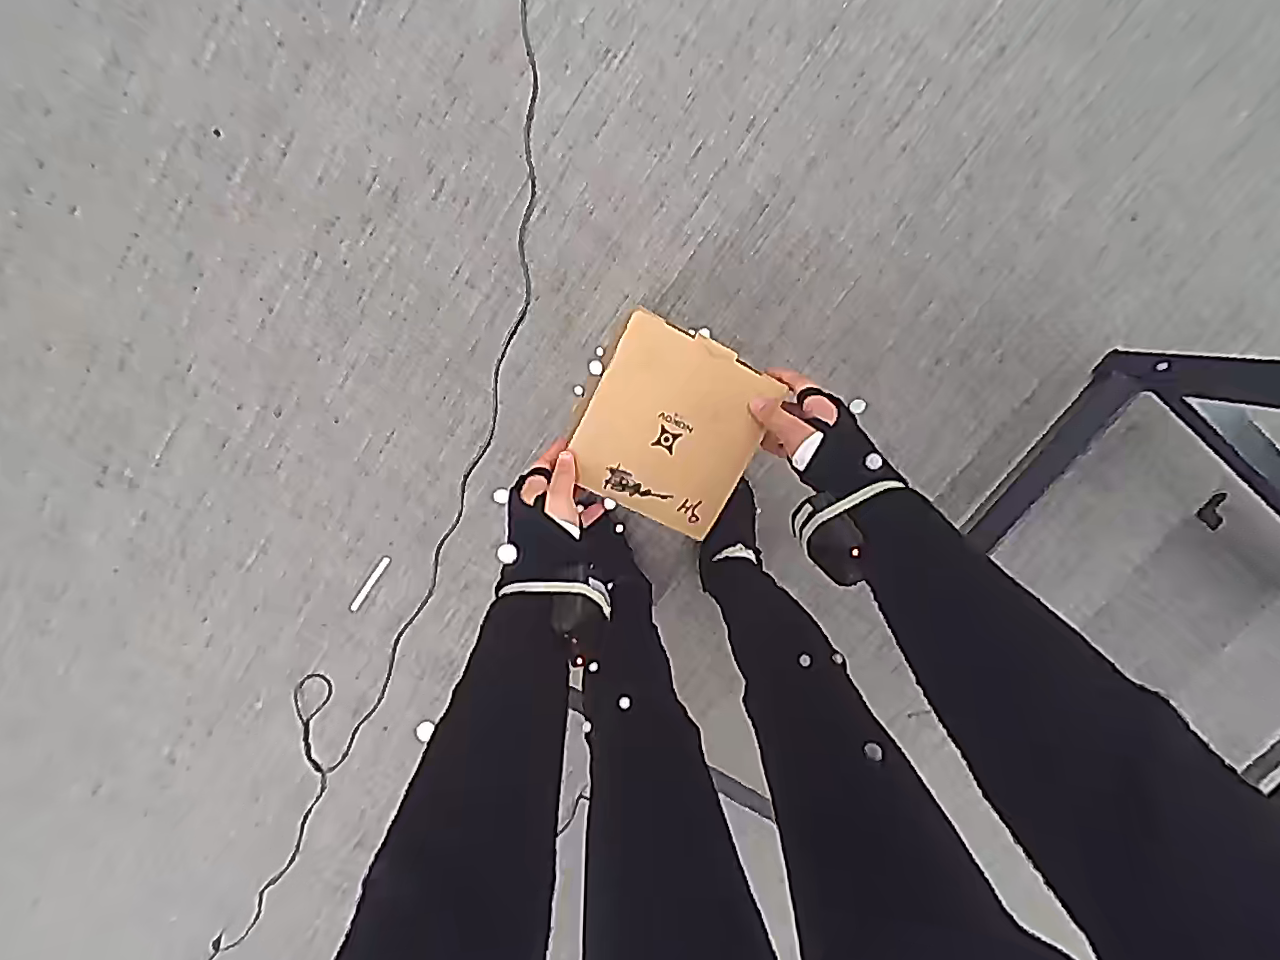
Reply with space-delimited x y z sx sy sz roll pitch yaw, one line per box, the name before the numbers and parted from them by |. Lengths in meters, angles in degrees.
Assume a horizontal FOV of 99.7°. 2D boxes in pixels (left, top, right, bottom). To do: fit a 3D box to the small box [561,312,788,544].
small box | 0.026 -0.063 0.593 0.168 0.176 0.179 26 101 -10
